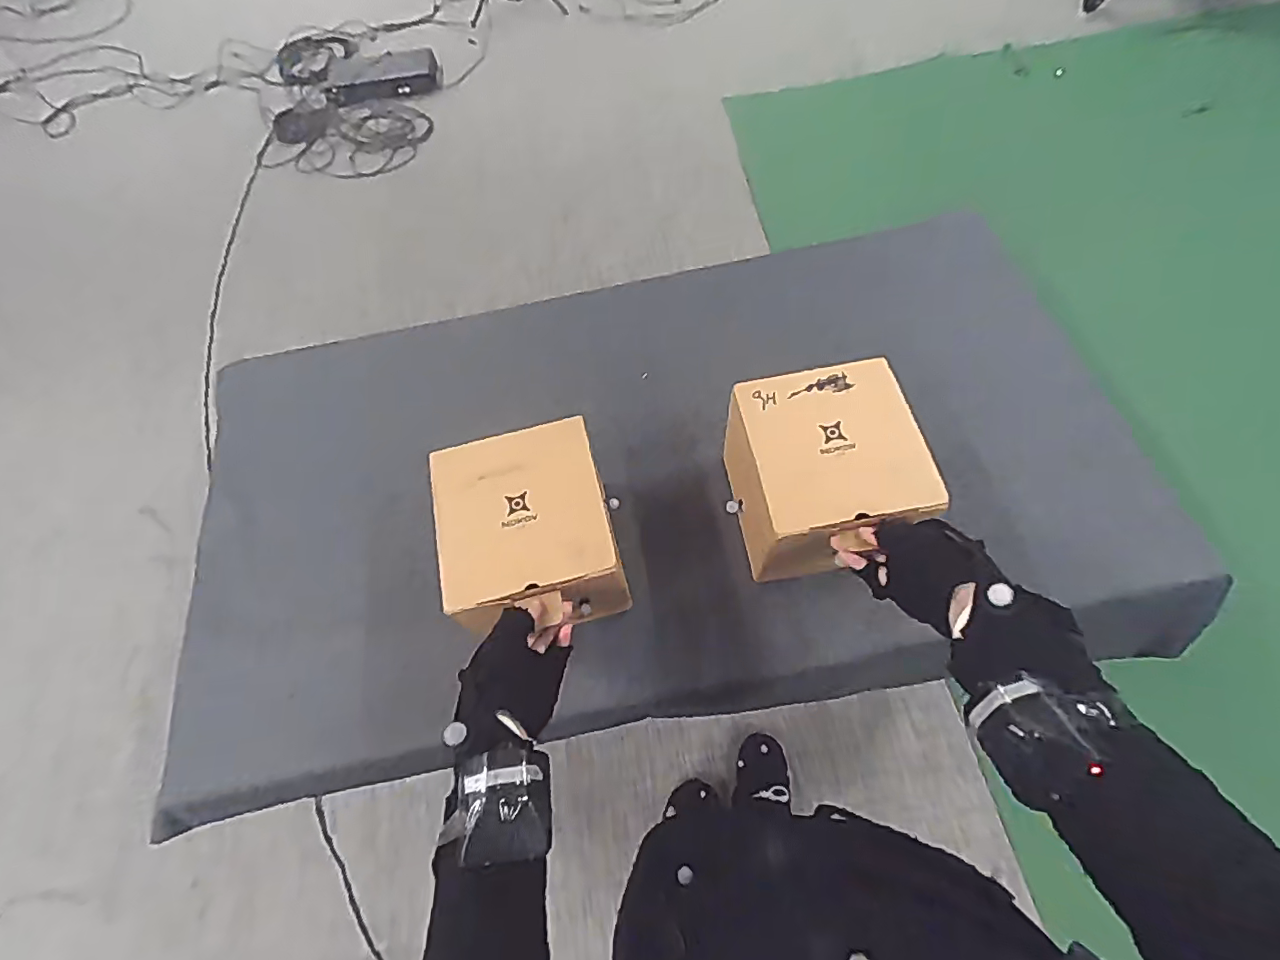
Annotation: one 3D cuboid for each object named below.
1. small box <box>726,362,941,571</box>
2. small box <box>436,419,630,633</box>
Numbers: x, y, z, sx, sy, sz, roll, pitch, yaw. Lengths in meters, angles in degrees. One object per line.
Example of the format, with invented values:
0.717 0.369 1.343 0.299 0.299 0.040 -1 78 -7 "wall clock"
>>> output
0.199 -0.003 0.616 0.168 0.176 0.179 -10 65 0 "small box"
-0.112 0.063 0.609 0.168 0.176 0.179 -14 63 -4 "small box"
